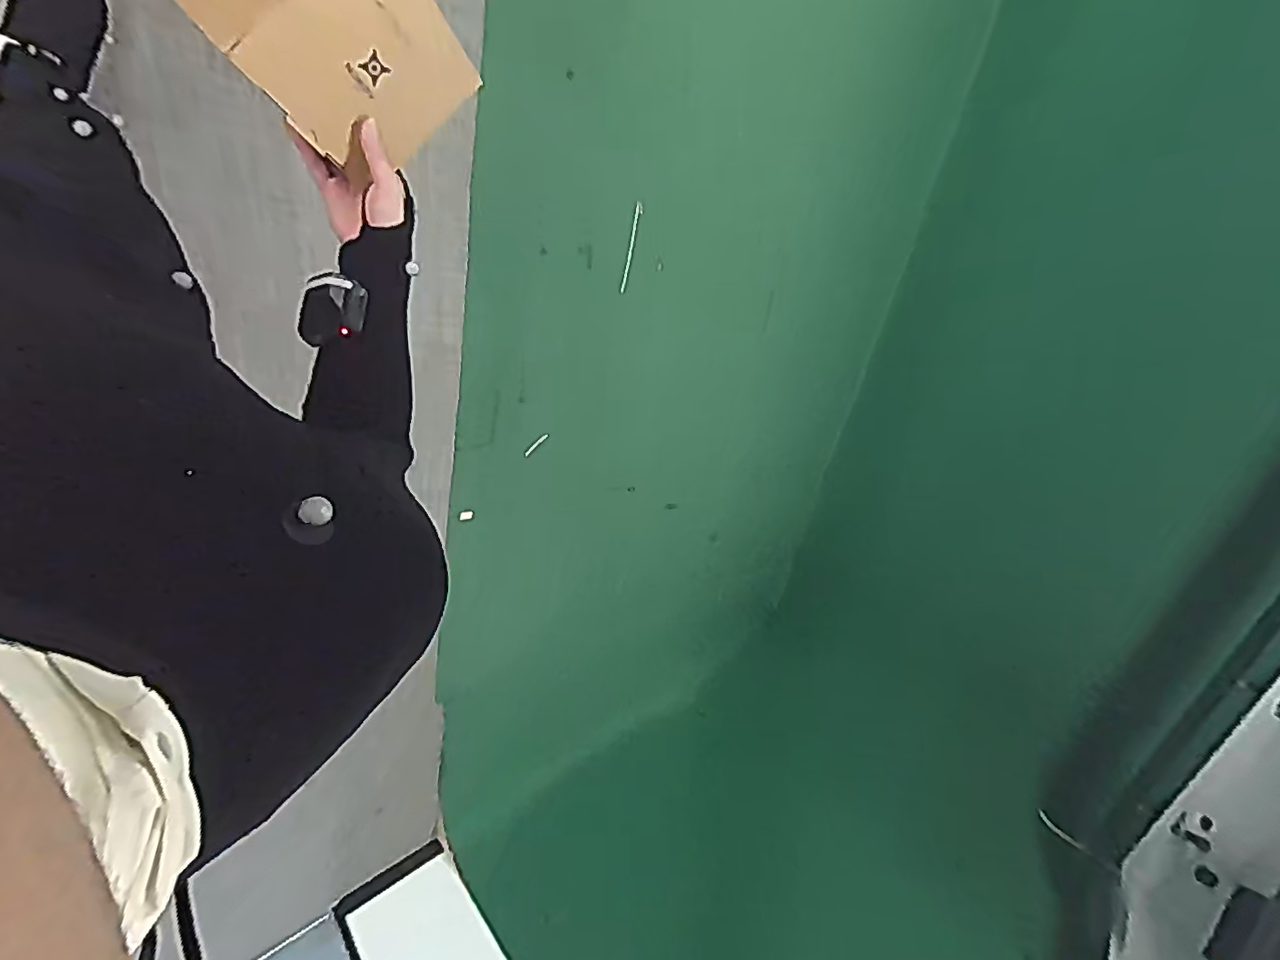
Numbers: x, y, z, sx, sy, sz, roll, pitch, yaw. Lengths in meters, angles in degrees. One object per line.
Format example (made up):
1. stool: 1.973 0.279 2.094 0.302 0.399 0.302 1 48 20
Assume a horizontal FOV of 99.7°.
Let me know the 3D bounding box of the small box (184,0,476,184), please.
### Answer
1. small box: -0.304 -0.445 0.524 0.179 0.176 0.168 -44 161 2

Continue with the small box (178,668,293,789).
1. small box: -0.948 0.568 1.265 0.179 0.176 0.168 1 113 -49
